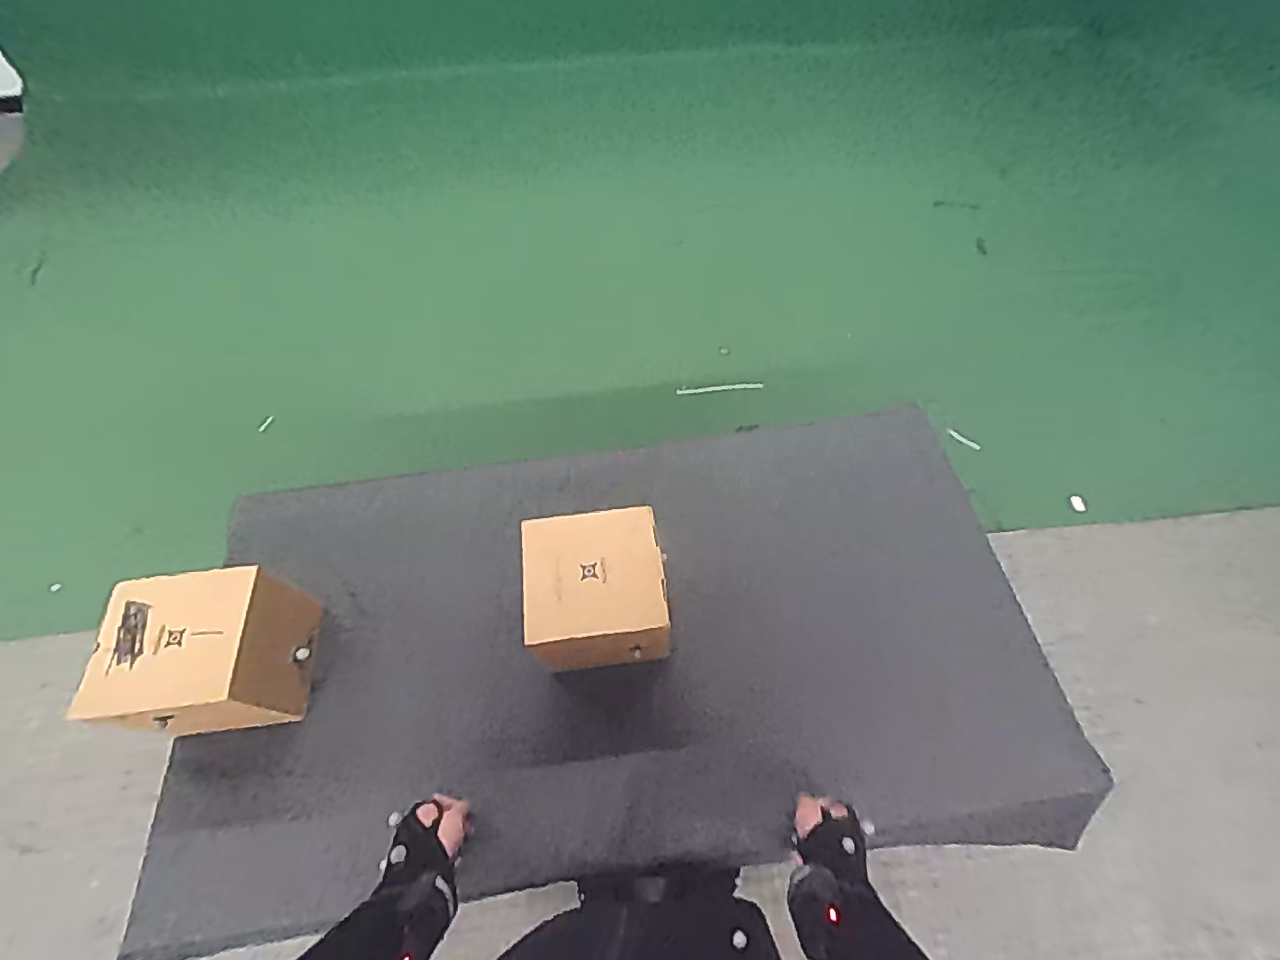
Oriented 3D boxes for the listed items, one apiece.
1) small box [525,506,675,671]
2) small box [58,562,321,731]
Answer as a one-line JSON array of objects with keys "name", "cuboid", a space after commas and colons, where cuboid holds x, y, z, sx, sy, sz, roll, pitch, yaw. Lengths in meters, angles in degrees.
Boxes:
[{"name": "small box", "cuboid": [-0.054, 0.153, 0.737, 0.179, 0.176, 0.168, -7, 60, -3]}, {"name": "small box", "cuboid": [-0.553, 0.219, 0.696, 0.179, 0.176, 0.168, -5, 61, -4]}]
